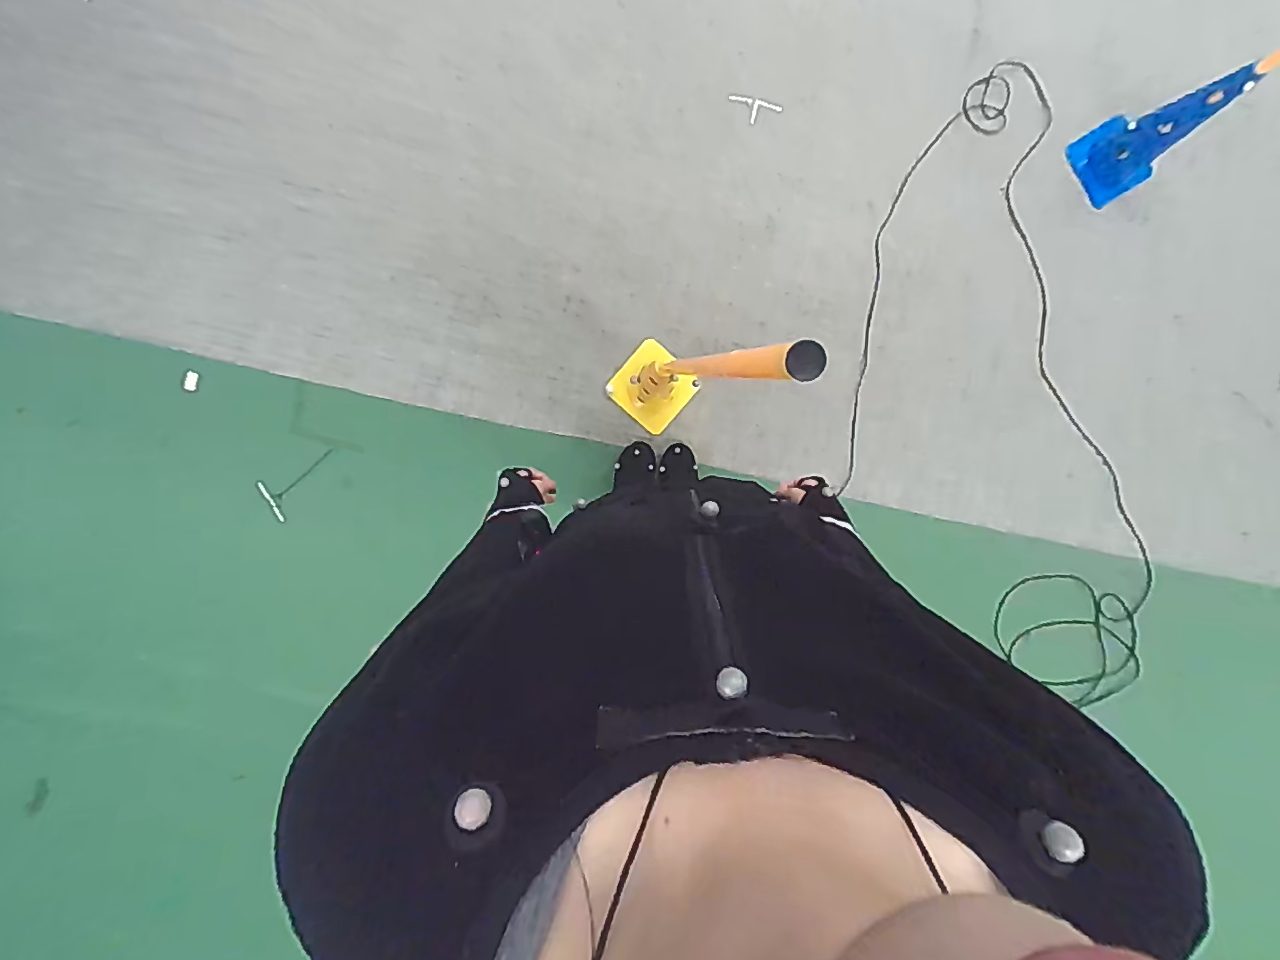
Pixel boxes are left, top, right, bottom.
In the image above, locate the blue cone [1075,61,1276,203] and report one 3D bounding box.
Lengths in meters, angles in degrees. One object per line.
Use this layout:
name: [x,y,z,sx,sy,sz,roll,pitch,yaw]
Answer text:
blue cone: [1.333,-0.893,1.345,0.193,0.380,0.192,-34,93,-3]
